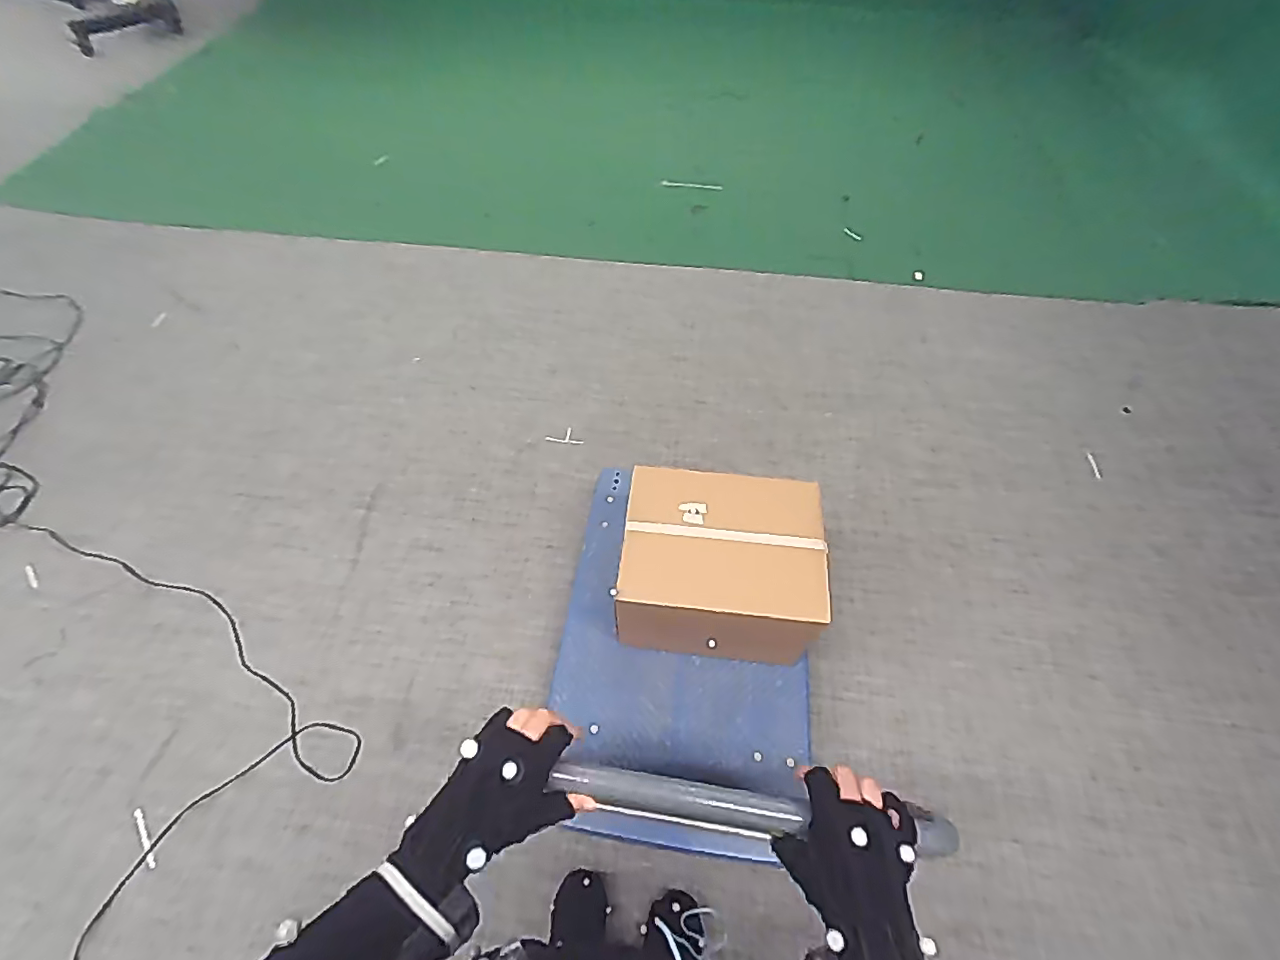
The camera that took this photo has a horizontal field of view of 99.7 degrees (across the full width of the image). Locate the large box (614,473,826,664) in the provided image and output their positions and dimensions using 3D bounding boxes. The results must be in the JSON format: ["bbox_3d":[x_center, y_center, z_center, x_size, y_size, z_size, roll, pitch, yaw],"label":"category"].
[{"bbox_3d":[0.166,0.206,1.215,0.408,0.320,0.320,5,56,4],"label":"large box"}]
